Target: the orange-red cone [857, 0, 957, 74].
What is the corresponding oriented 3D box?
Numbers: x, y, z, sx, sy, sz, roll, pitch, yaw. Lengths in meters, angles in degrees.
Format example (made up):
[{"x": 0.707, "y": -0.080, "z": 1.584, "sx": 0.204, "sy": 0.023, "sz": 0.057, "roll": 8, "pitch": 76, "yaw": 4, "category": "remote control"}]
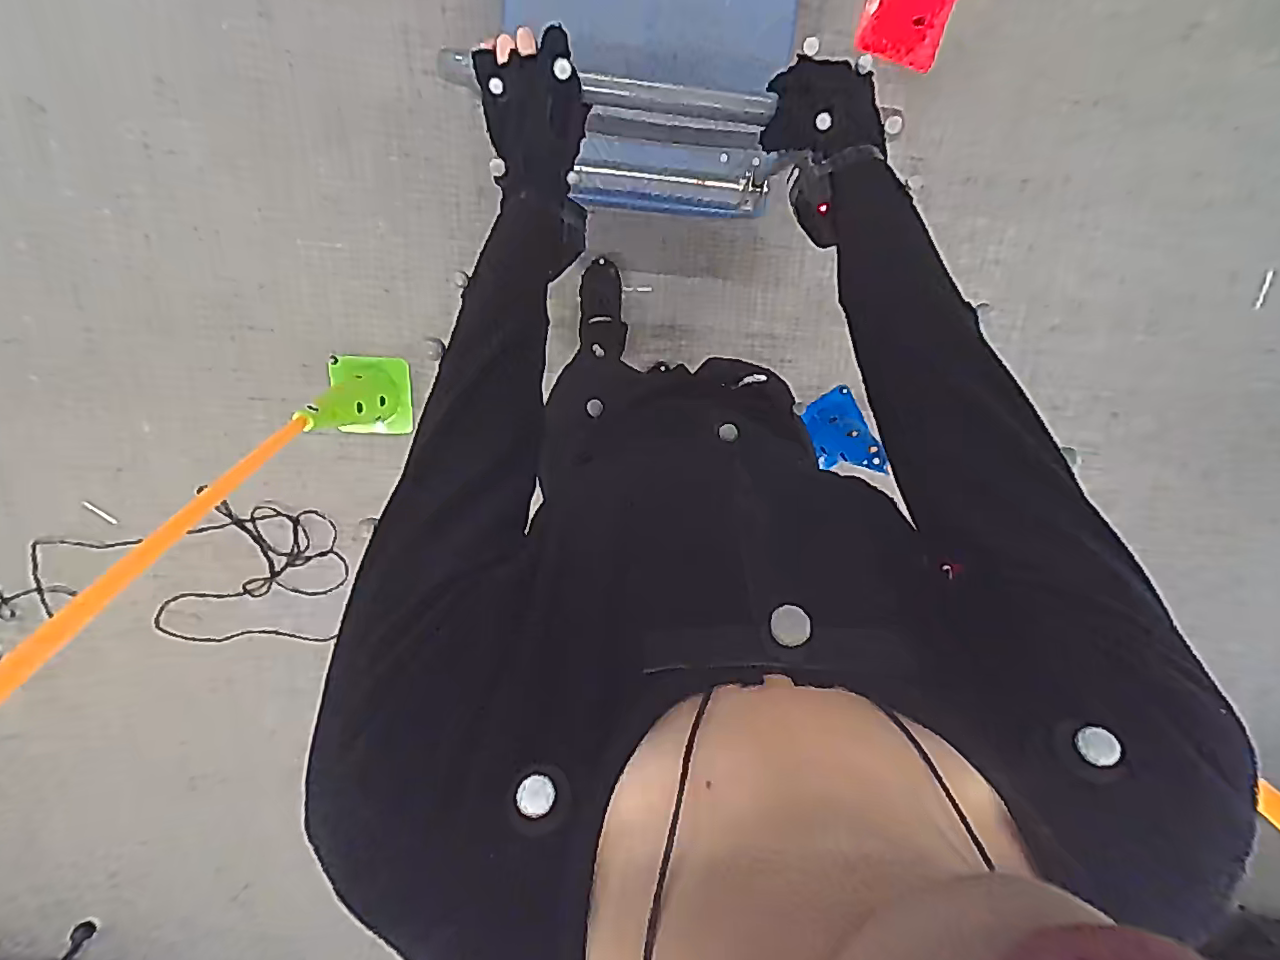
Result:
[{"x": 0.623, "y": -1.013, "z": 1.073, "sx": 0.198, "sy": 0.360, "sz": 0.199, "roll": 13, "pitch": 106, "yaw": -7, "category": "orange-red cone"}]
